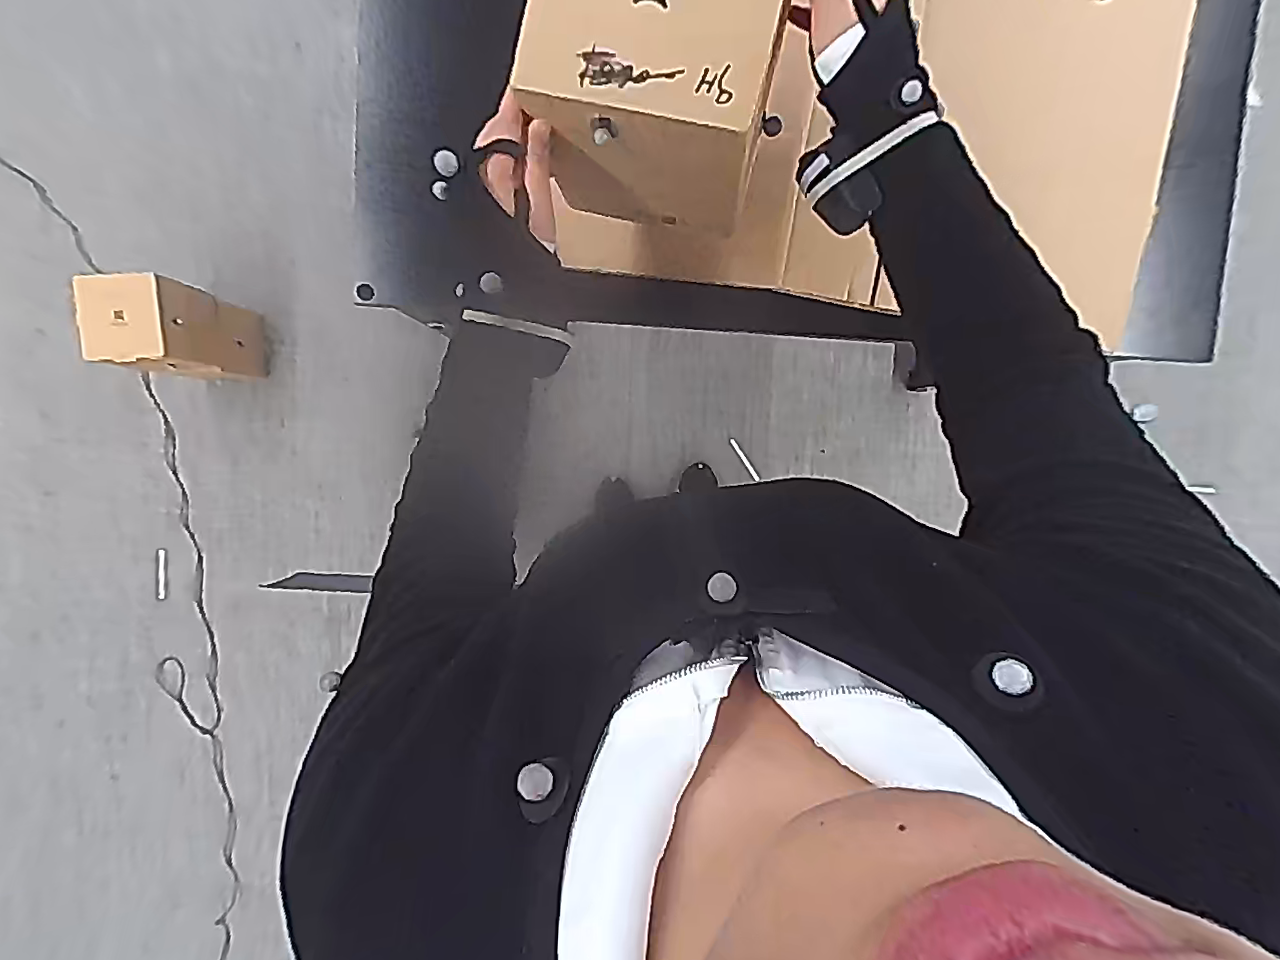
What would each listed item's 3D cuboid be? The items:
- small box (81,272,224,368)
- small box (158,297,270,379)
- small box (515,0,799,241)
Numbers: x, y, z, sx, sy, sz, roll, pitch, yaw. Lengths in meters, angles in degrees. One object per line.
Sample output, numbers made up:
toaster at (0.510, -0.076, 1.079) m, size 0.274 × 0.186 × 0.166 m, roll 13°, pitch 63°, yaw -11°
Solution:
small box at (-1.066, -0.345, 1.199) m, size 0.168 × 0.176 × 0.179 m, roll -4°, pitch 93°, yaw -2°
small box at (-1.068, -0.352, 1.361) m, size 0.168 × 0.176 × 0.179 m, roll 0°, pitch 95°, yaw -1°
small box at (0.024, -0.324, 0.426) m, size 0.168 × 0.176 × 0.179 m, roll 15°, pitch 91°, yaw 6°
